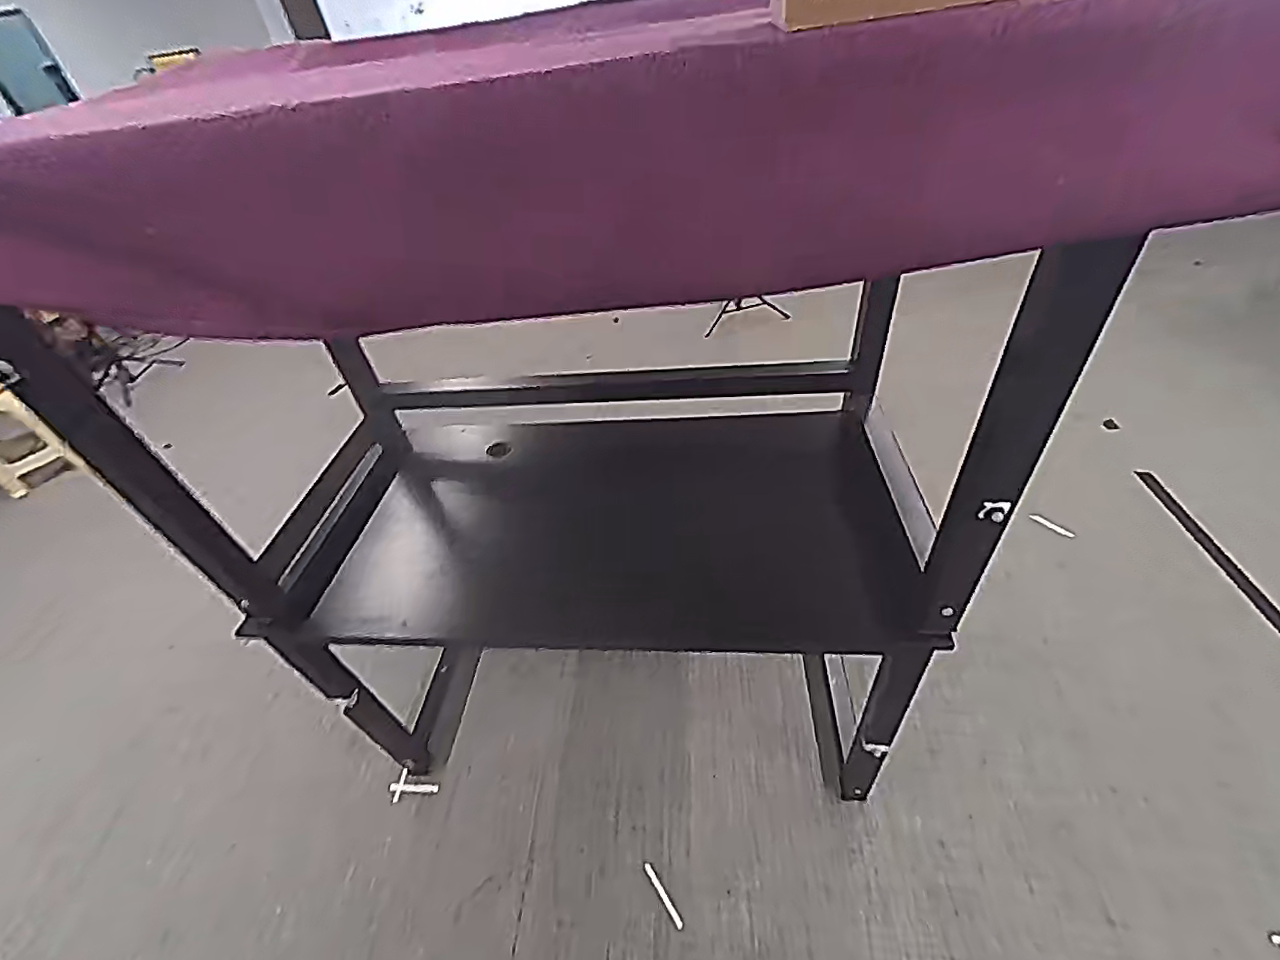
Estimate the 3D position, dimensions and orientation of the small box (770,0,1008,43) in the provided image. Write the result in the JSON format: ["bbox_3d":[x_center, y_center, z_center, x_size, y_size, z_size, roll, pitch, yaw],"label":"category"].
[{"bbox_3d":[0.187,-0.428,0.374,0.179,0.176,0.168,-1,41,10],"label":"small box"}]
